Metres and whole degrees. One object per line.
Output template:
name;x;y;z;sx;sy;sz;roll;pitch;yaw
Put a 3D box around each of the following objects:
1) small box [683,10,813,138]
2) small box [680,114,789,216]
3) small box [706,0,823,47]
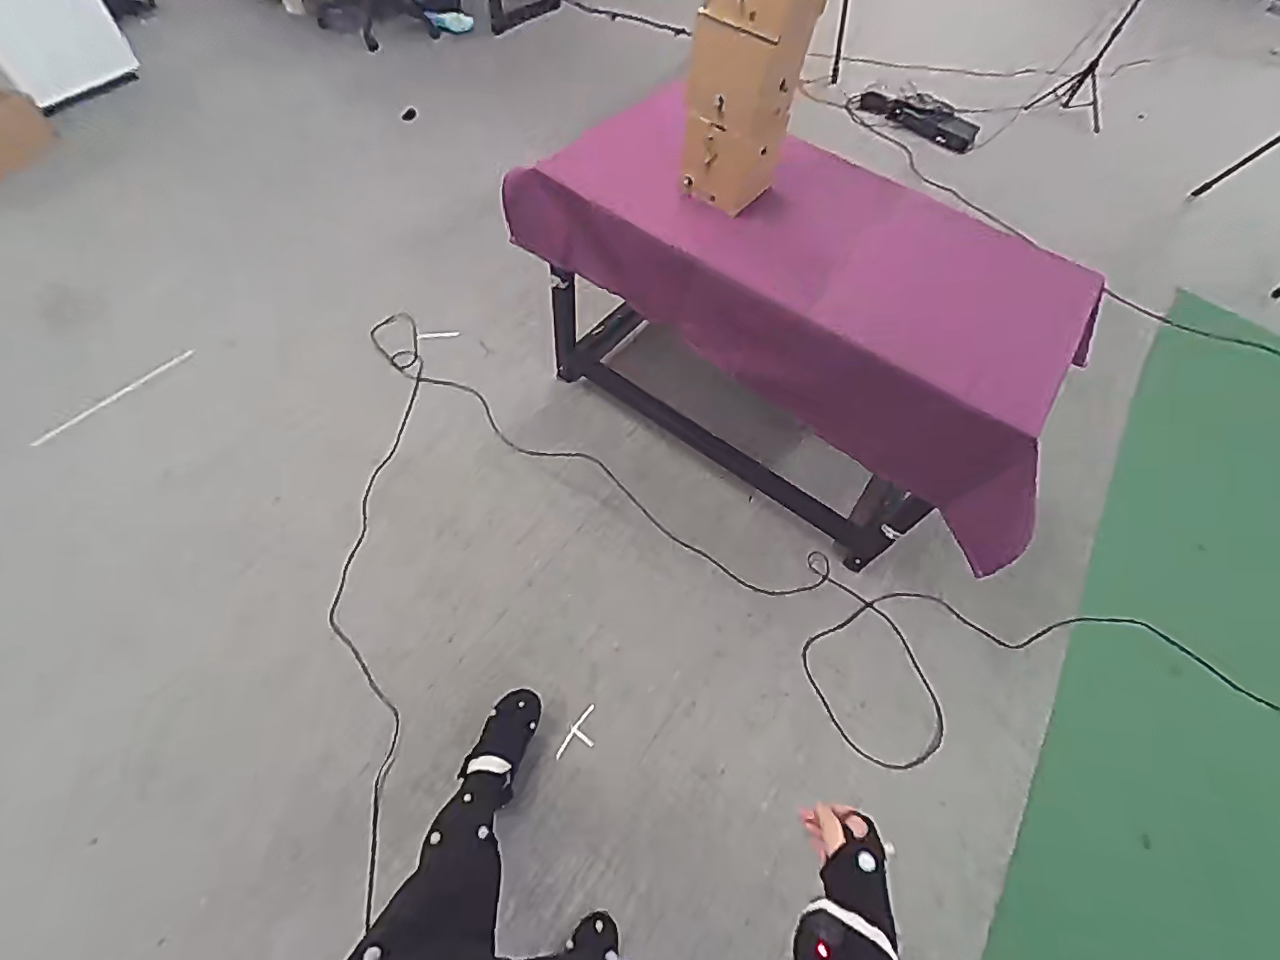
small box;0.209;-0.824;1.087;0.179;0.176;0.168;36;62;14
small box;0.204;-0.735;1.225;0.168;0.176;0.179;35;61;14
small box;0.234;-0.905;0.947;0.168;0.176;0.179;34;63;14
